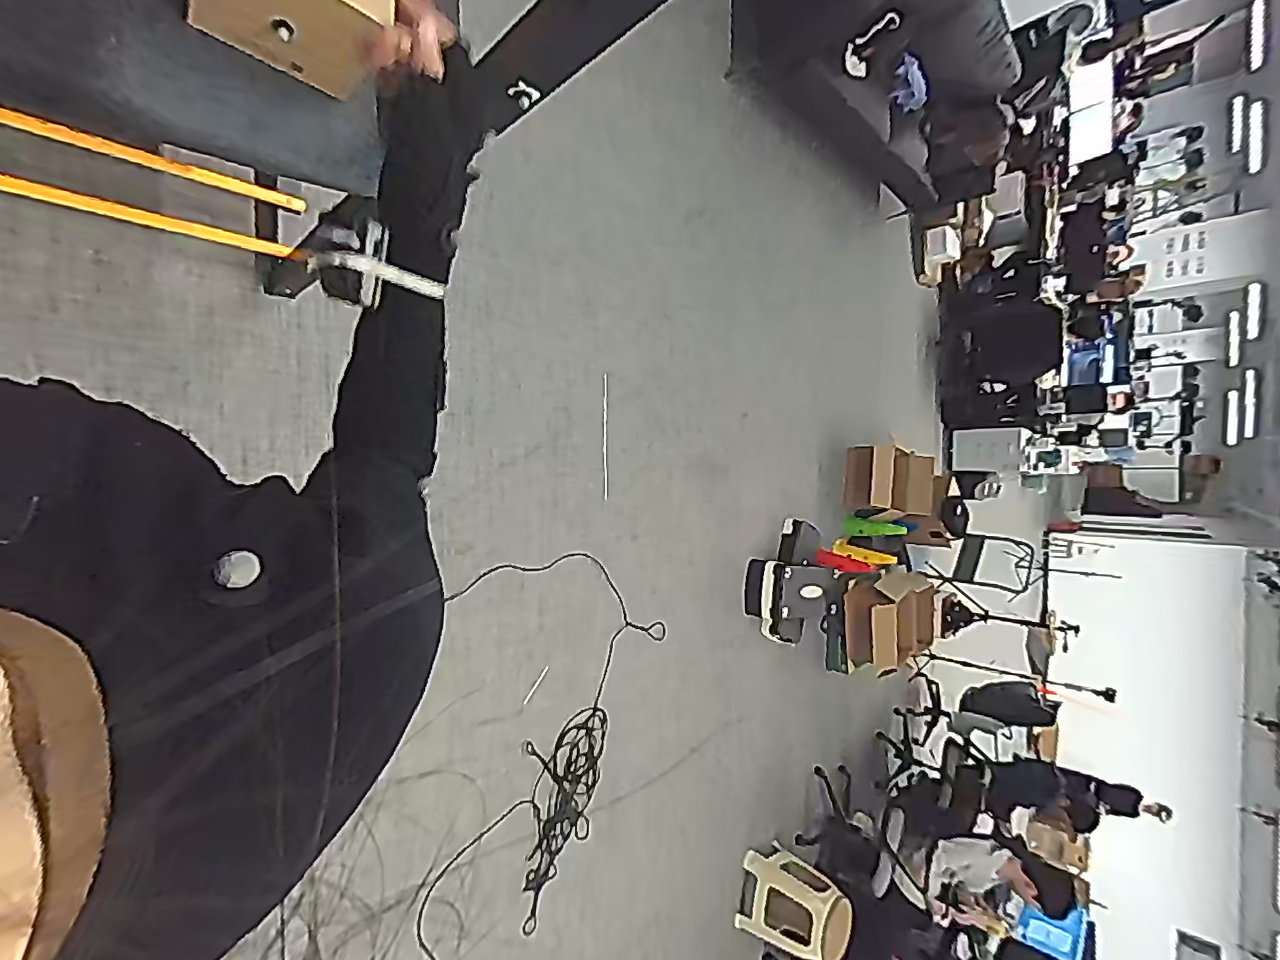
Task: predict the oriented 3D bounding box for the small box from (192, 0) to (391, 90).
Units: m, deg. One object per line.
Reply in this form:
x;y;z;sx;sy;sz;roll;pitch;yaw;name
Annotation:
-0.392;-0.596;0.608;0.168;0.176;0.179;4;87;-47;small box
